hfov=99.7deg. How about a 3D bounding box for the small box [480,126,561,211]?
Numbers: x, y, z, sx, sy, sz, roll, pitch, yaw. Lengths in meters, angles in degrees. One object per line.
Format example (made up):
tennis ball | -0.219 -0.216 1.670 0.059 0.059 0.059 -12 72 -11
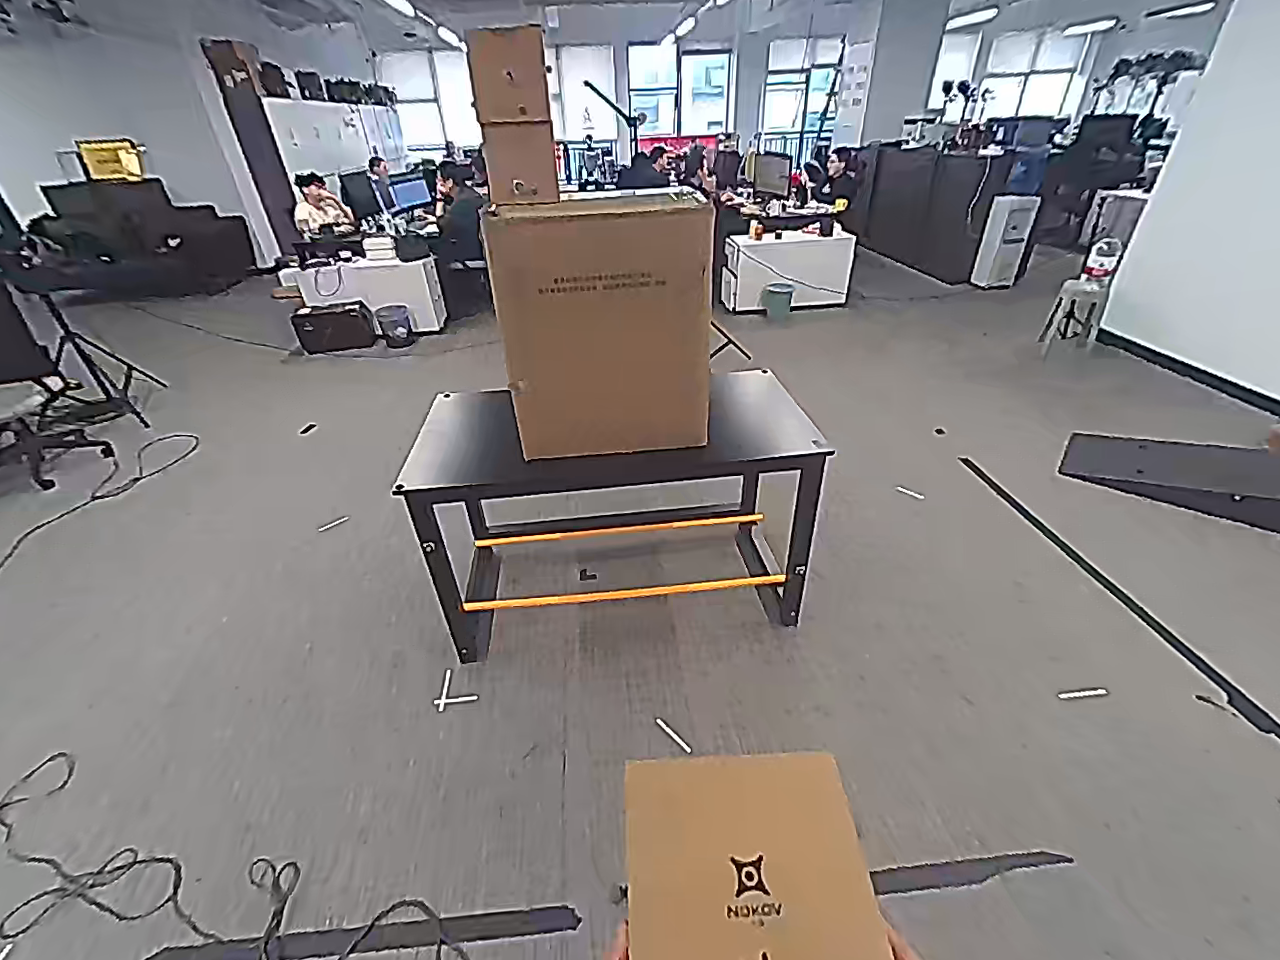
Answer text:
small box | -0.289 -0.767 1.330 0.168 0.176 0.179 -8 34 -7

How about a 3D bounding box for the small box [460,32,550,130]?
small box | -0.297 -0.895 1.228 0.168 0.176 0.179 -6 34 -6

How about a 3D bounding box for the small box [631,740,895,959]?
small box | 0.076 0.328 0.422 0.168 0.176 0.179 -3 42 -1
